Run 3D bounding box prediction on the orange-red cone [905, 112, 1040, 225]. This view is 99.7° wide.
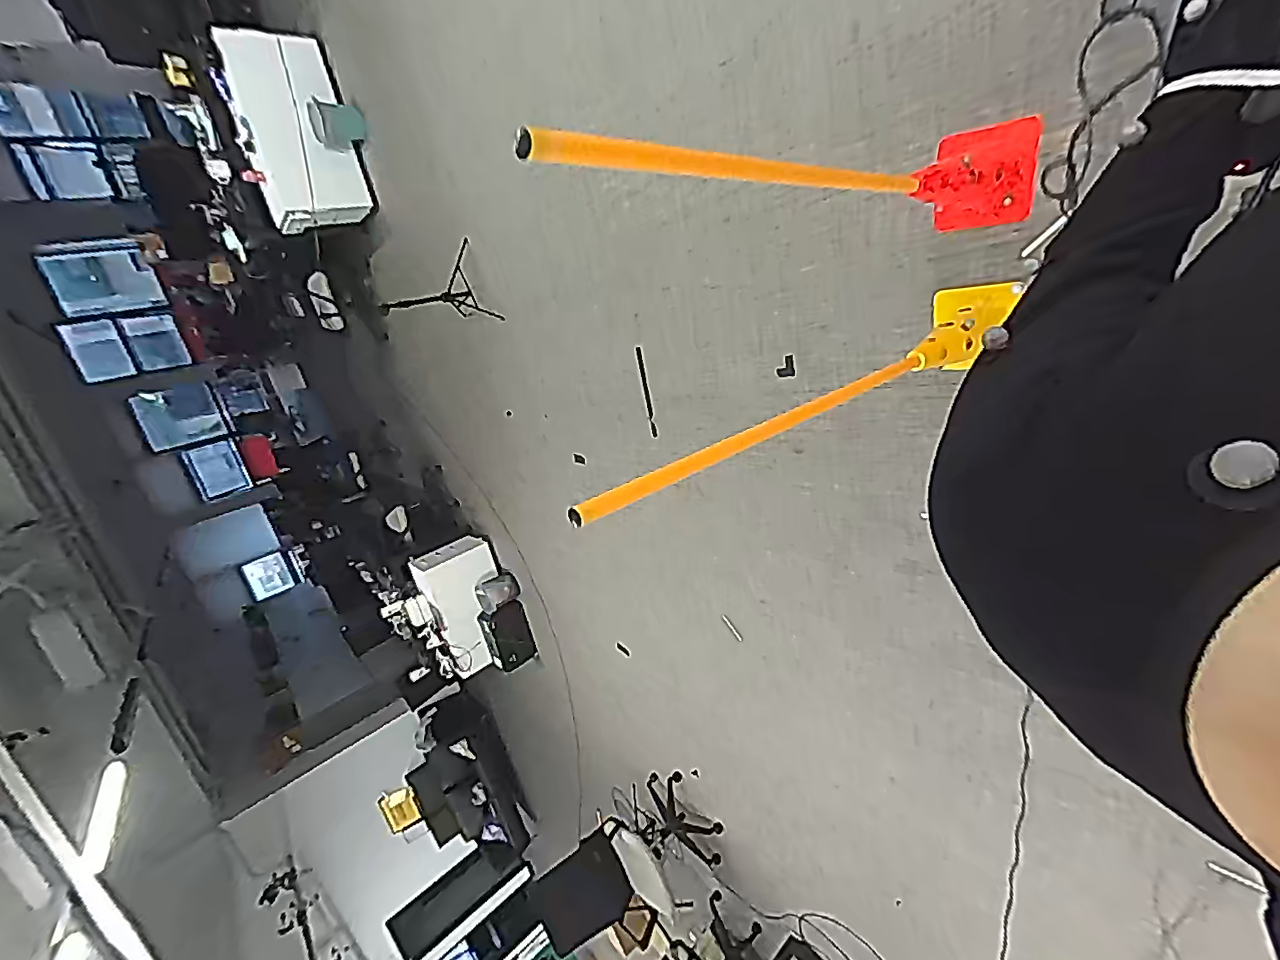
[{"bbox_3d":[0.629,-0.619,1.091,0.198,0.360,0.199,17,123,45],"label":"orange-red cone"}]
